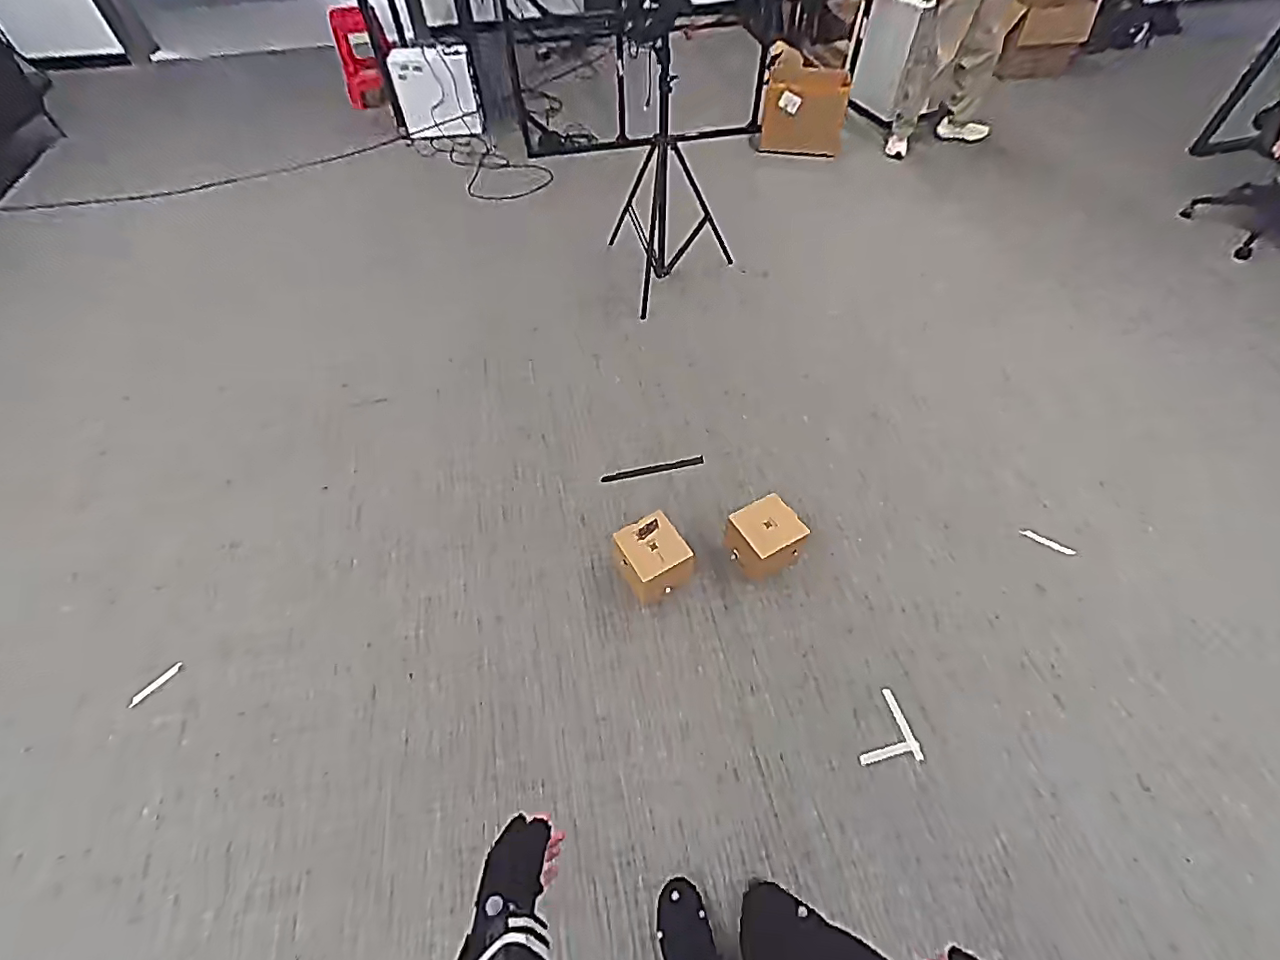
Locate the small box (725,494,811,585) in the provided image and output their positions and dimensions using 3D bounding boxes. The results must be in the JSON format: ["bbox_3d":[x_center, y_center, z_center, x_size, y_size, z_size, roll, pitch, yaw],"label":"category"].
[{"bbox_3d":[0.371,0.178,1.607,0.179,0.176,0.168,-26,57,-16],"label":"small box"}]

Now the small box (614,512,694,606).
[{"bbox_3d":[0.037,0.233,1.571,0.168,0.176,0.179,-27,58,-17],"label":"small box"}]
